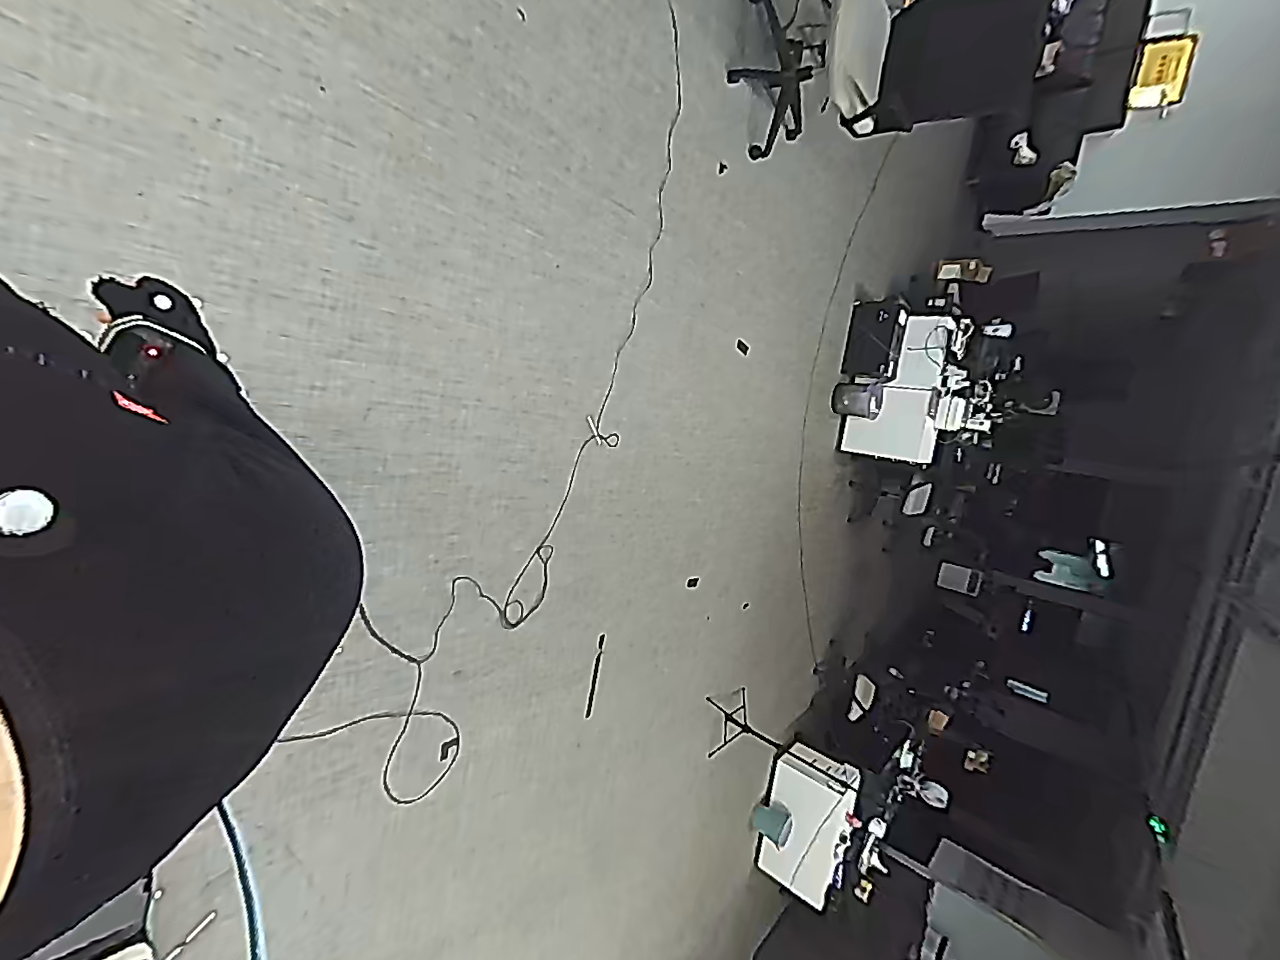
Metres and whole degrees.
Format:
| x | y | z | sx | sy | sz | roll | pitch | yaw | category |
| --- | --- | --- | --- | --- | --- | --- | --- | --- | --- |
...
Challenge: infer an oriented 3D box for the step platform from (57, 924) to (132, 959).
| x | y | z | sx | sy | sz | roll | pitch | yaw | category |
| --- | --- | --- | --- | --- | --- | --- | --- | --- | --- |
| -1.381 | 1.187 | 0.984 | 0.684 | 0.204 | 0.286 | -2 | 103 | -49 | step platform |
